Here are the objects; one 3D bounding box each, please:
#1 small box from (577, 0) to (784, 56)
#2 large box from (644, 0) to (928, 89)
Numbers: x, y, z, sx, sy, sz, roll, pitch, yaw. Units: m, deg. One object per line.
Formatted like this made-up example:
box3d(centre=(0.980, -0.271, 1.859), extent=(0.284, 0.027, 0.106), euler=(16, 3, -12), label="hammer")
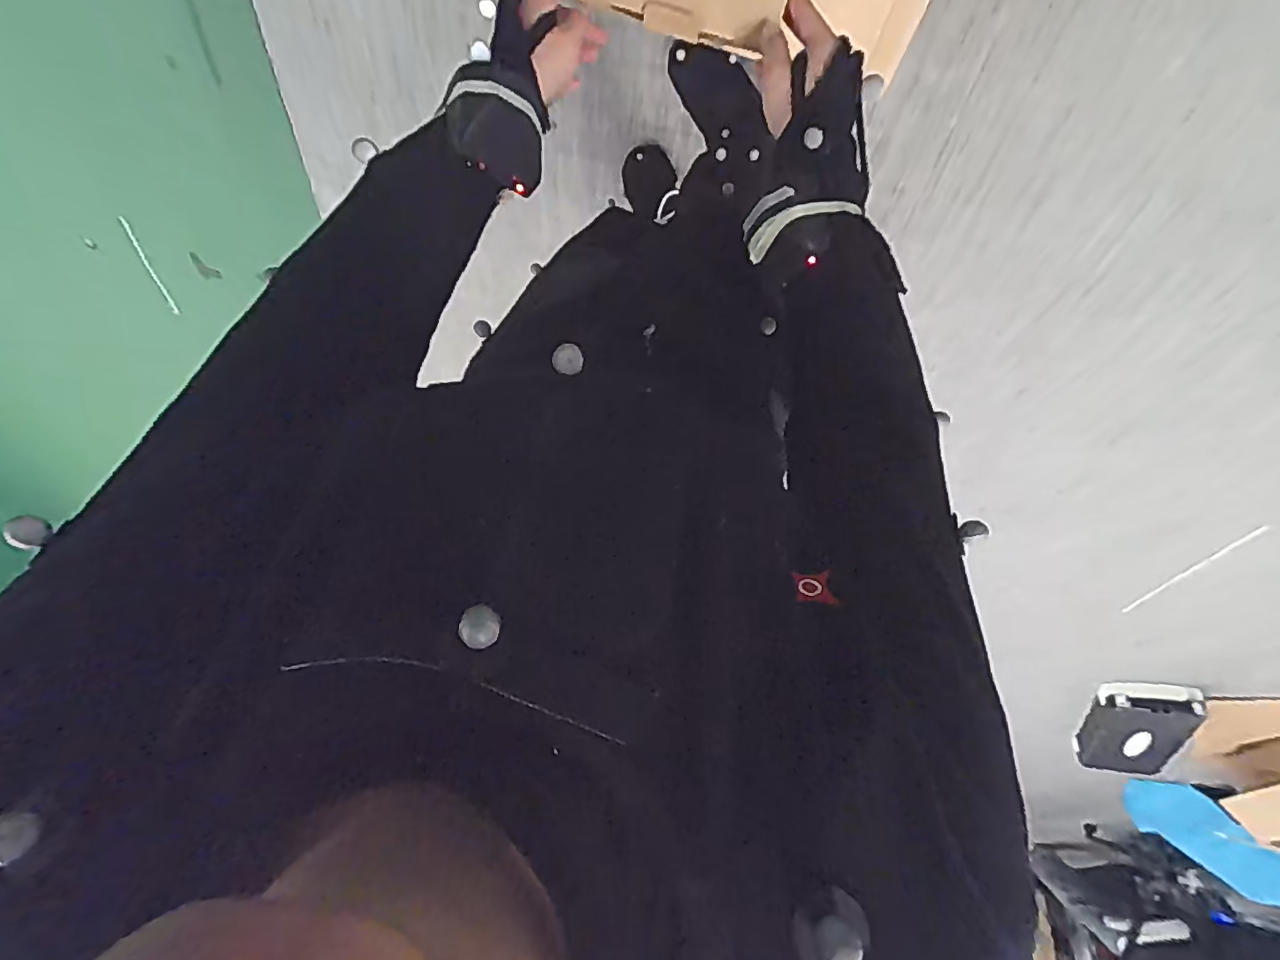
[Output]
box3d(centre=(0.055, -0.466, 0.412), extent=(0.168, 0.176, 0.179), euler=(15, 137, -1), label="small box")
box3d(centre=(0.184, -0.758, 0.674), extent=(0.408, 0.320, 0.320), euler=(17, 140, -2), label="large box")
